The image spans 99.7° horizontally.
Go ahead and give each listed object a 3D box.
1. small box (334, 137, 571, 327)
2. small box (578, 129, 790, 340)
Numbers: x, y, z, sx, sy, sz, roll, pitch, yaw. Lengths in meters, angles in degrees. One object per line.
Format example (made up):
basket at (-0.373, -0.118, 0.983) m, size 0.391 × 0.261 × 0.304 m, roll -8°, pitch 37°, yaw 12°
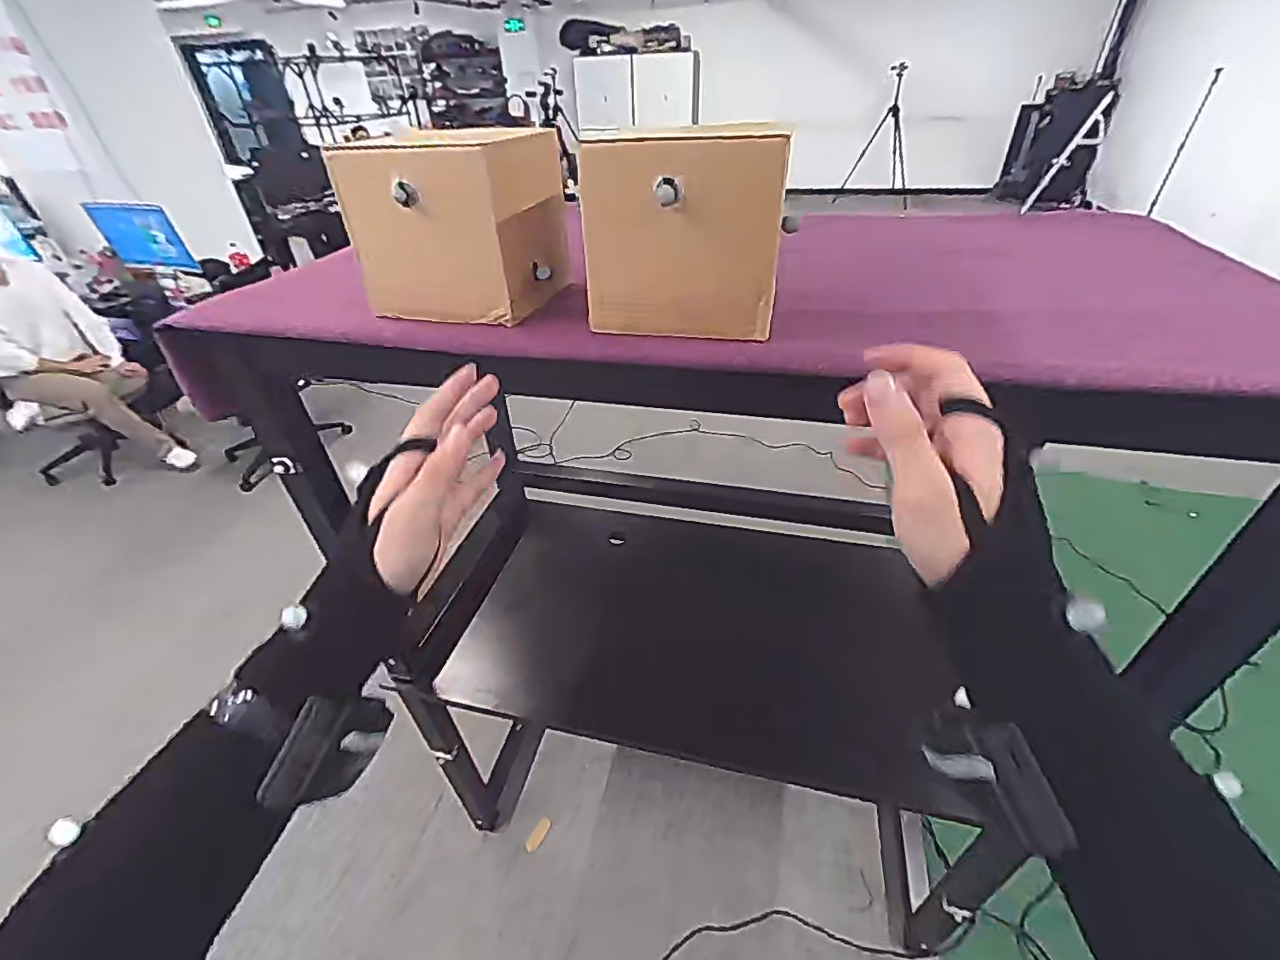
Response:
small box at (-0.192, -0.281, 0.611) m, size 0.179 × 0.176 × 0.168 m, roll 9°, pitch 37°, yaw 14°
small box at (0.053, -0.251, 0.553) m, size 0.179 × 0.176 × 0.168 m, roll 6°, pitch 36°, yaw 13°
